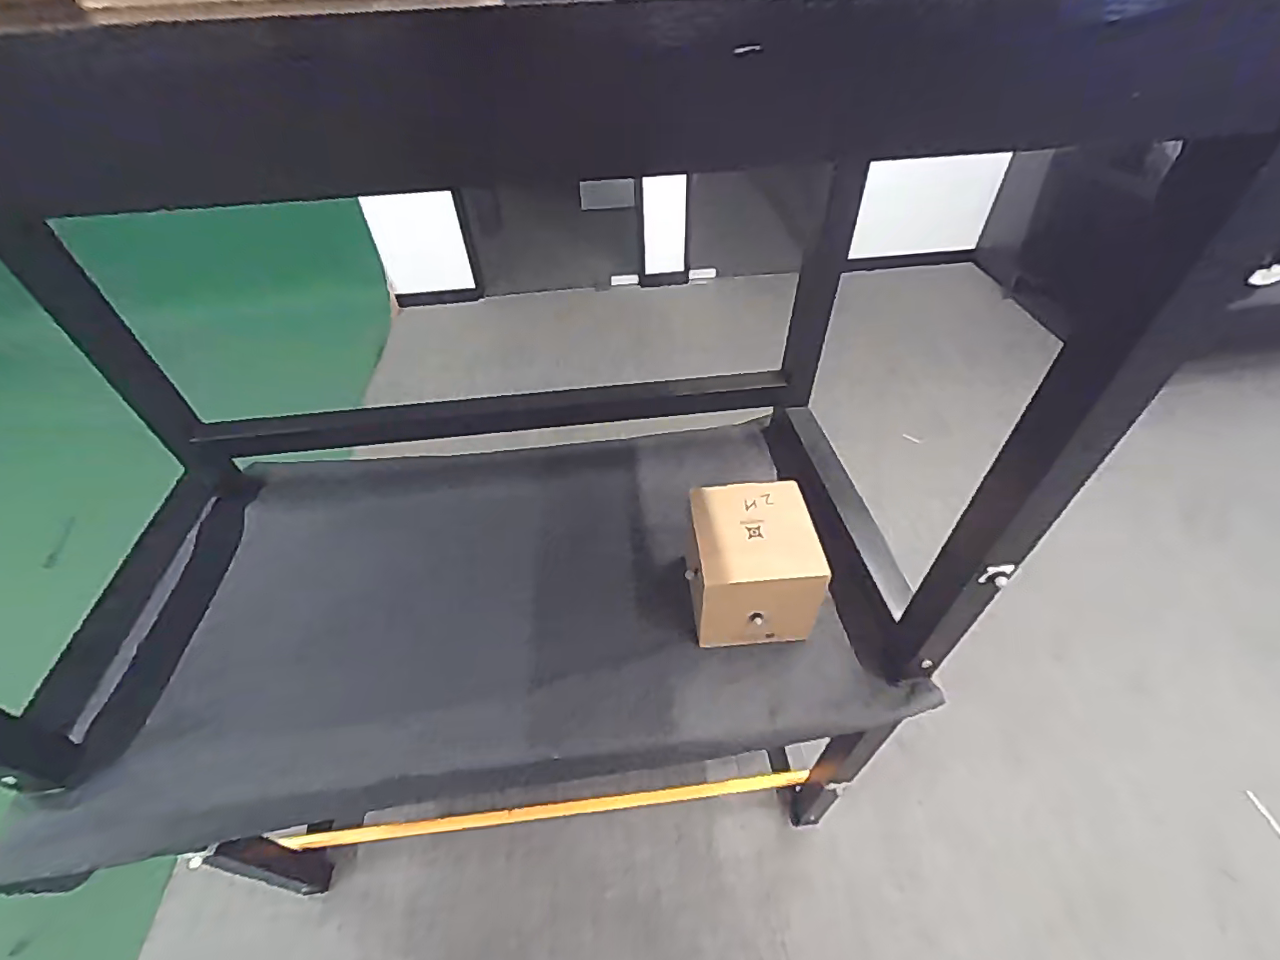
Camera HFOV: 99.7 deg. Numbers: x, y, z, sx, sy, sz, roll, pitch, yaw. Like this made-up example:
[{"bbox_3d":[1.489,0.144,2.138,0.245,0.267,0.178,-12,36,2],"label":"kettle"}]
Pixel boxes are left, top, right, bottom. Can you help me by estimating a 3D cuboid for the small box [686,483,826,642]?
[{"bbox_3d":[0.160,0.128,0.807,0.168,0.176,0.179,-4,44,-1],"label":"small box"}]
